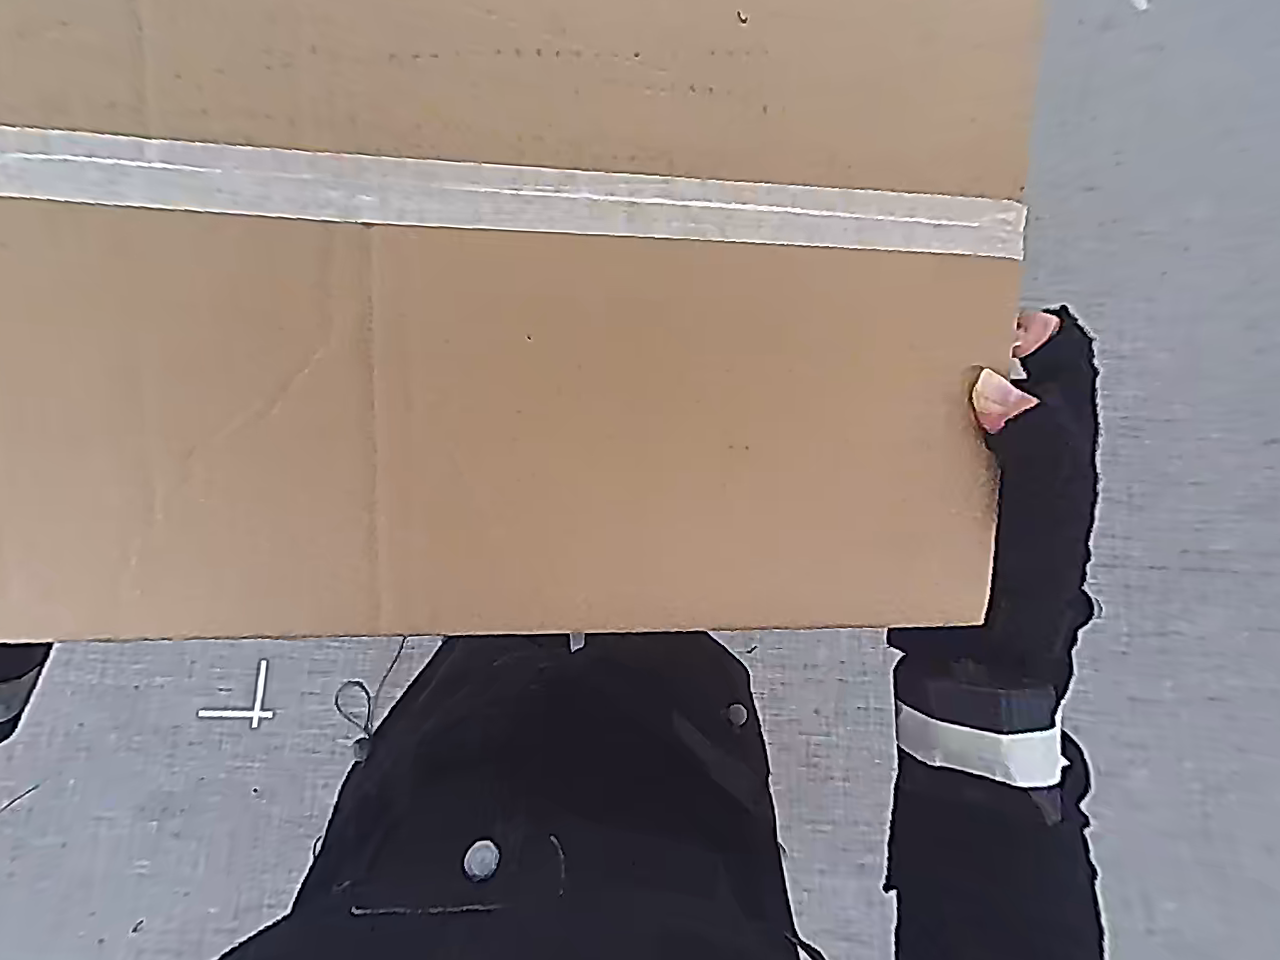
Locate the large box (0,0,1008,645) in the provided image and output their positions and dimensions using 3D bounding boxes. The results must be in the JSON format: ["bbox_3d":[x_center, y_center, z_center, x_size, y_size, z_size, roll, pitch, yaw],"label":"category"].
[{"bbox_3d":[-0.073,-0.109,0.346,0.408,0.320,0.320,1,96,-7],"label":"large box"}]
